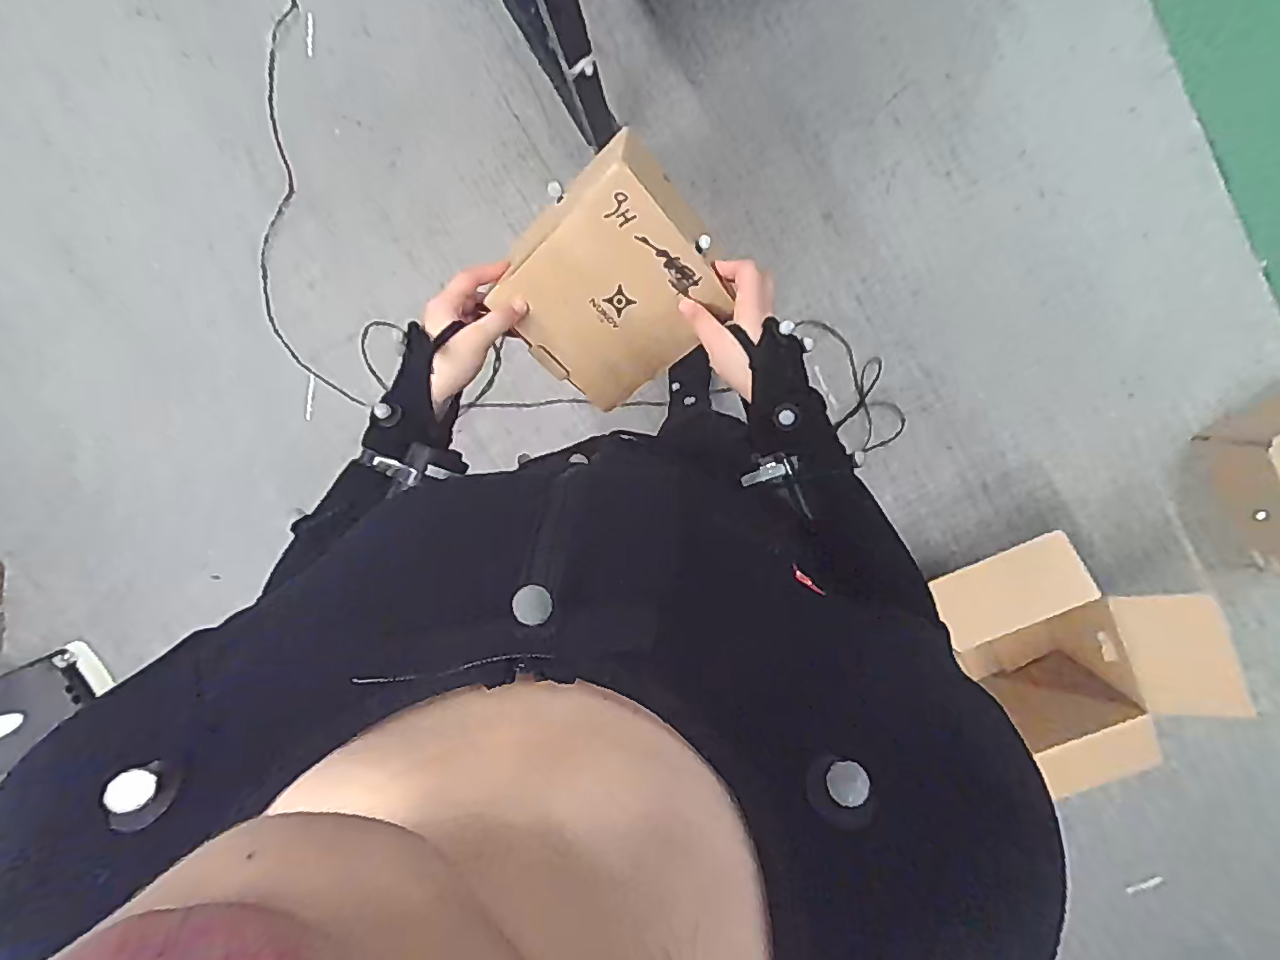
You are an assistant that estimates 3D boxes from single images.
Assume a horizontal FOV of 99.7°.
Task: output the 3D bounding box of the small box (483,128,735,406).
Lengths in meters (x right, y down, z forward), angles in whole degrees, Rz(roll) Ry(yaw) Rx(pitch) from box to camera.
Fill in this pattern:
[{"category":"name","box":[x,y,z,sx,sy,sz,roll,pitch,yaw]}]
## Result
[{"category":"small box","box":[-0.025,-0.216,0.552,0.179,0.176,0.168,-33,123,26]}]
